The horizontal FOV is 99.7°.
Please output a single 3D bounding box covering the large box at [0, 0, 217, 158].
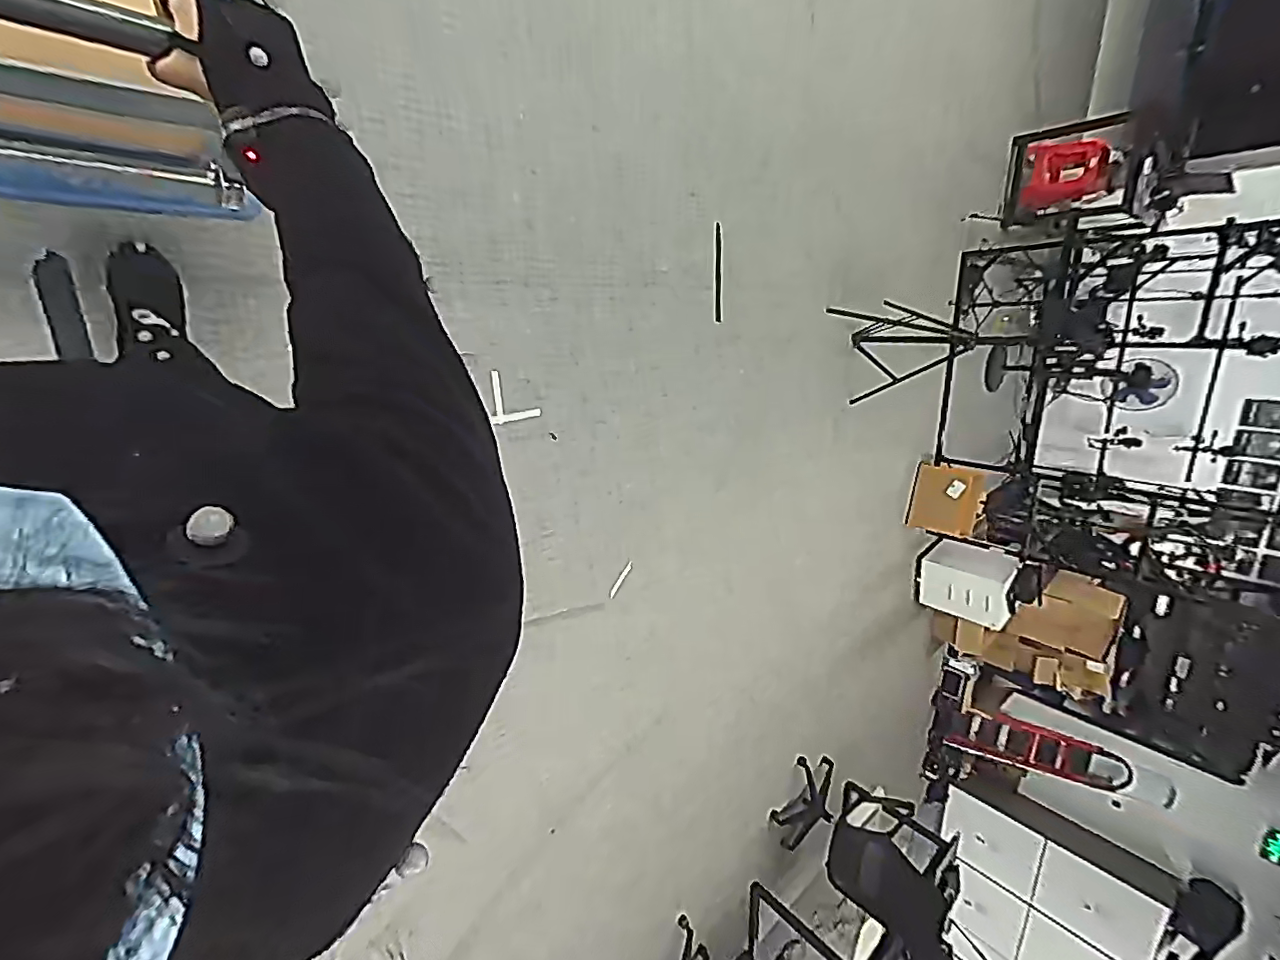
[{"bbox_3d":[-0.822,-0.641,0.670,0.408,0.320,0.320,-13,111,-41],"label":"large box"}]
